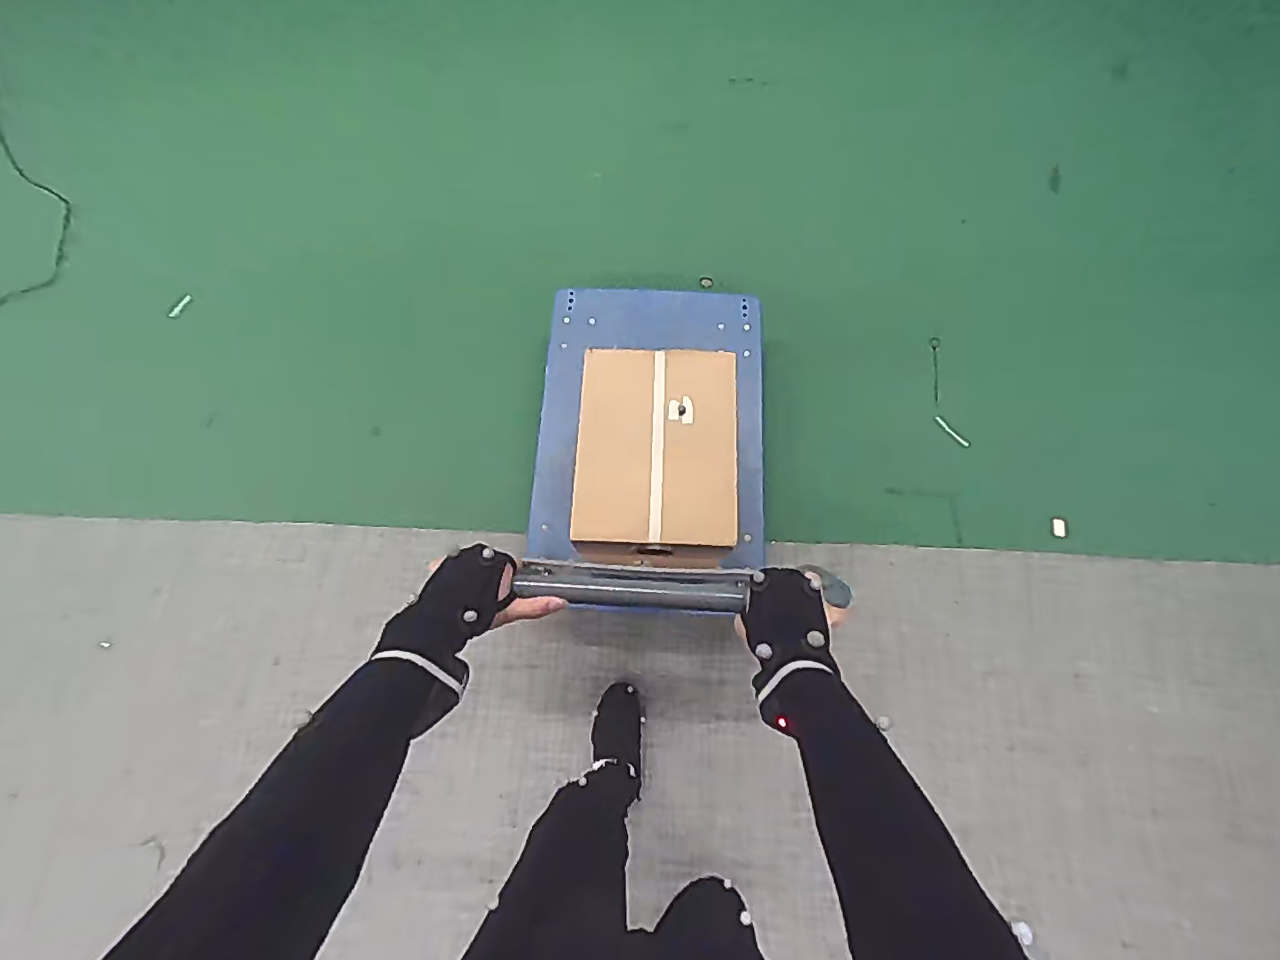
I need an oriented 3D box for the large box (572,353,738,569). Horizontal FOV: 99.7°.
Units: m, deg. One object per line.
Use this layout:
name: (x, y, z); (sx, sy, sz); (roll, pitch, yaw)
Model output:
large box: (0.037, -0.024, 1.202); (0.320, 0.320, 0.408); (3, 72, 1)
